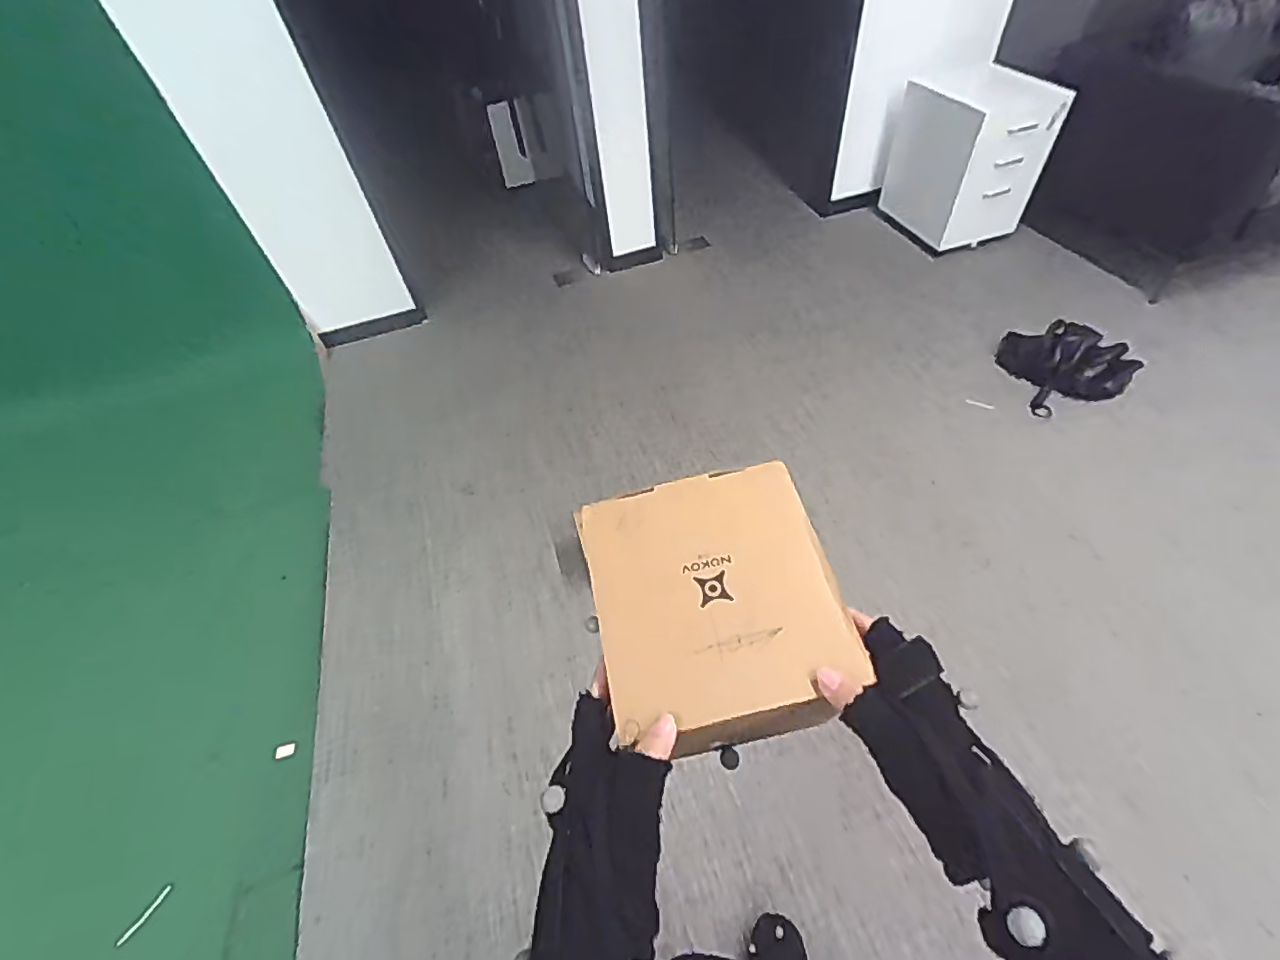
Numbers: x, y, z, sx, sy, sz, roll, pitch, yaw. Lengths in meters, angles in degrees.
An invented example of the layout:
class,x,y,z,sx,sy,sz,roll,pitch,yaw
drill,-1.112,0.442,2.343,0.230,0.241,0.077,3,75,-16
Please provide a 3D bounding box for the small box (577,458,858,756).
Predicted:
class,x,y,z,sx,sy,sz,roll,pitch,yaw
small box,0.051,0.112,0.448,0.168,0.176,0.179,-13,58,0
